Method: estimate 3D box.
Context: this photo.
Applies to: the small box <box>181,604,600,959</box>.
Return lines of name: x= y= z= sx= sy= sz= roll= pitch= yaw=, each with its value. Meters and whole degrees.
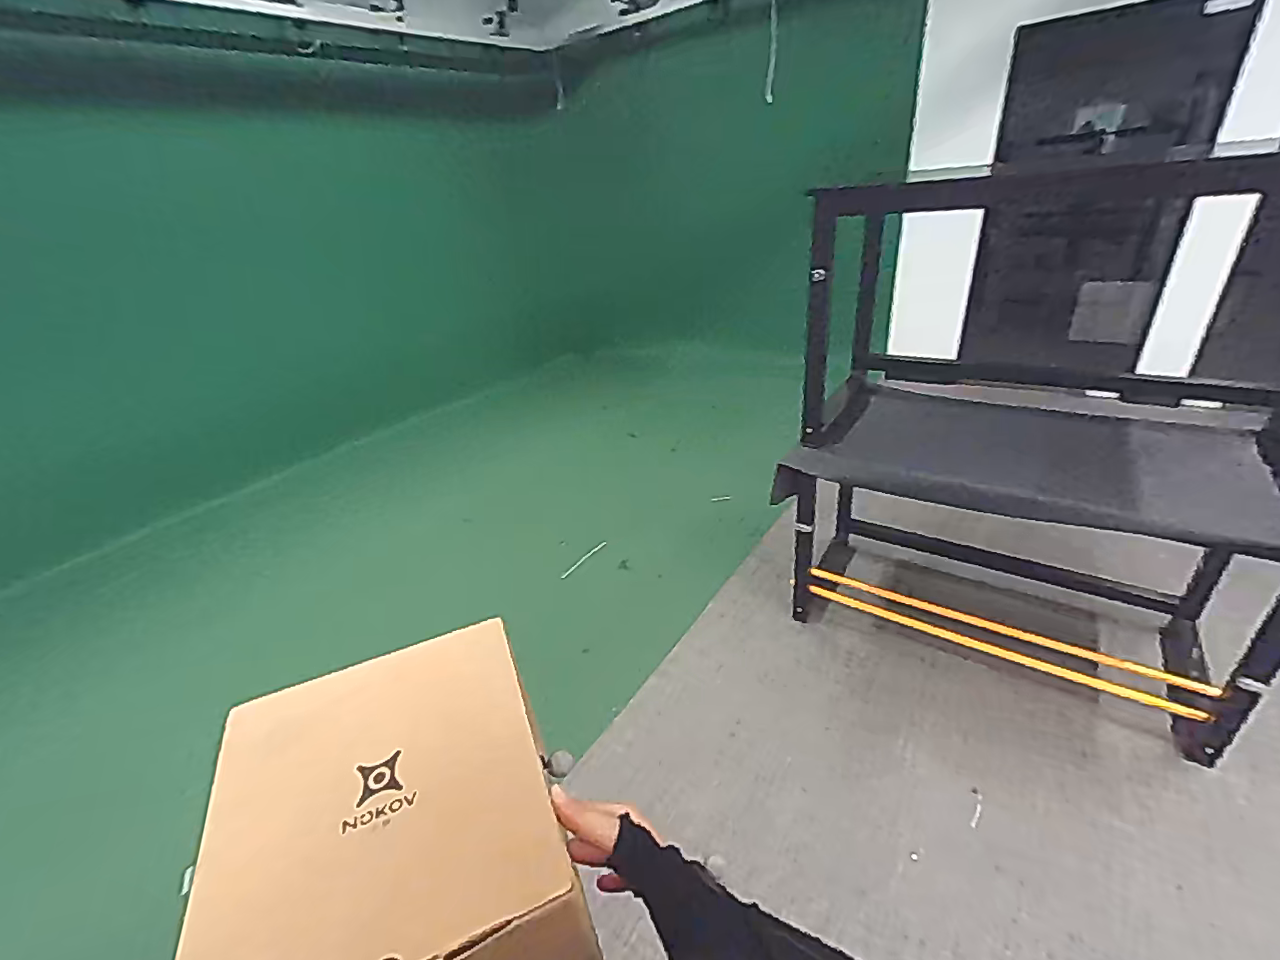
small box: x=-0.131 y=0.215 z=0.336 sx=0.168 sy=0.176 sz=0.179 roll=-15 pitch=37 yaw=-17
